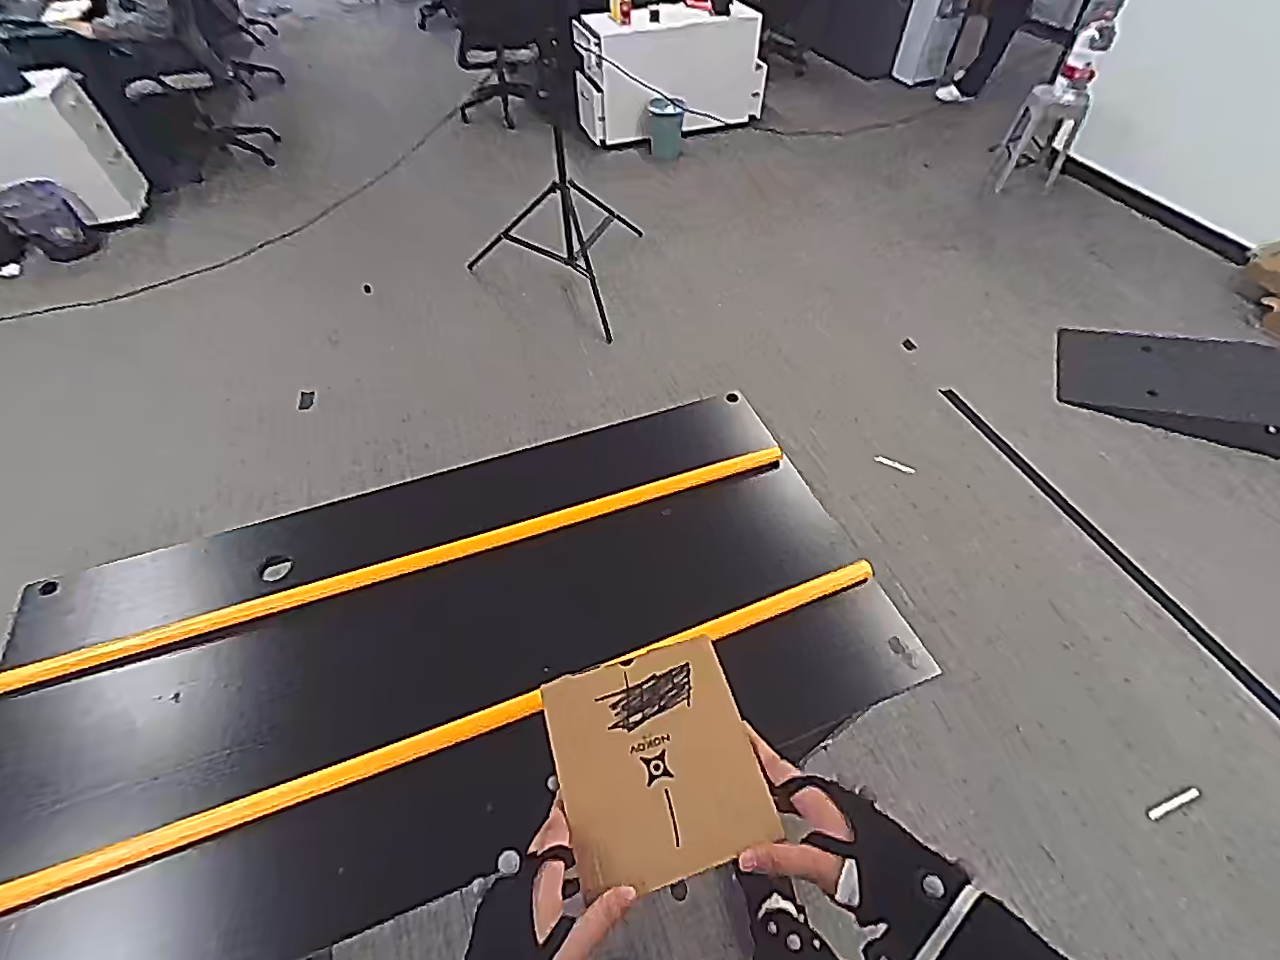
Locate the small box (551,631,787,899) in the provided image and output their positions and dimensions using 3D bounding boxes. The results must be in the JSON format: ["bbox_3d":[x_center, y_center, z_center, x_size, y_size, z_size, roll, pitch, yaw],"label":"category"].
[{"bbox_3d":[0.016,0.278,0.531,0.168,0.176,0.179,-14,56,-10],"label":"small box"}]
